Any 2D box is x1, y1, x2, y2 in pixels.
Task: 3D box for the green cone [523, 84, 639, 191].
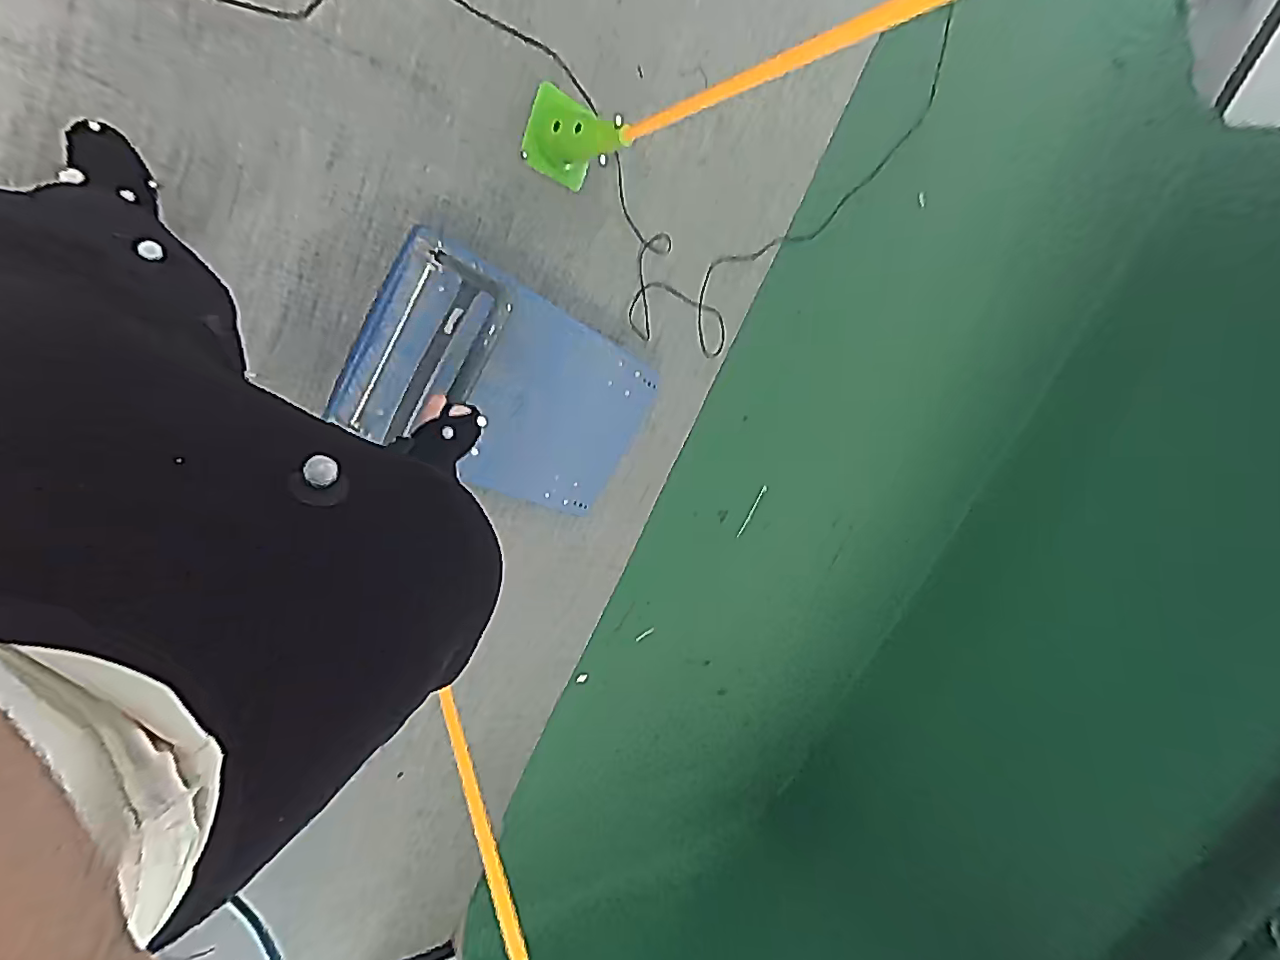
[{"bbox_3d":[-0.114,-0.856,1.351,0.200,0.368,0.202,8,110,-40],"label":"green cone"}]
